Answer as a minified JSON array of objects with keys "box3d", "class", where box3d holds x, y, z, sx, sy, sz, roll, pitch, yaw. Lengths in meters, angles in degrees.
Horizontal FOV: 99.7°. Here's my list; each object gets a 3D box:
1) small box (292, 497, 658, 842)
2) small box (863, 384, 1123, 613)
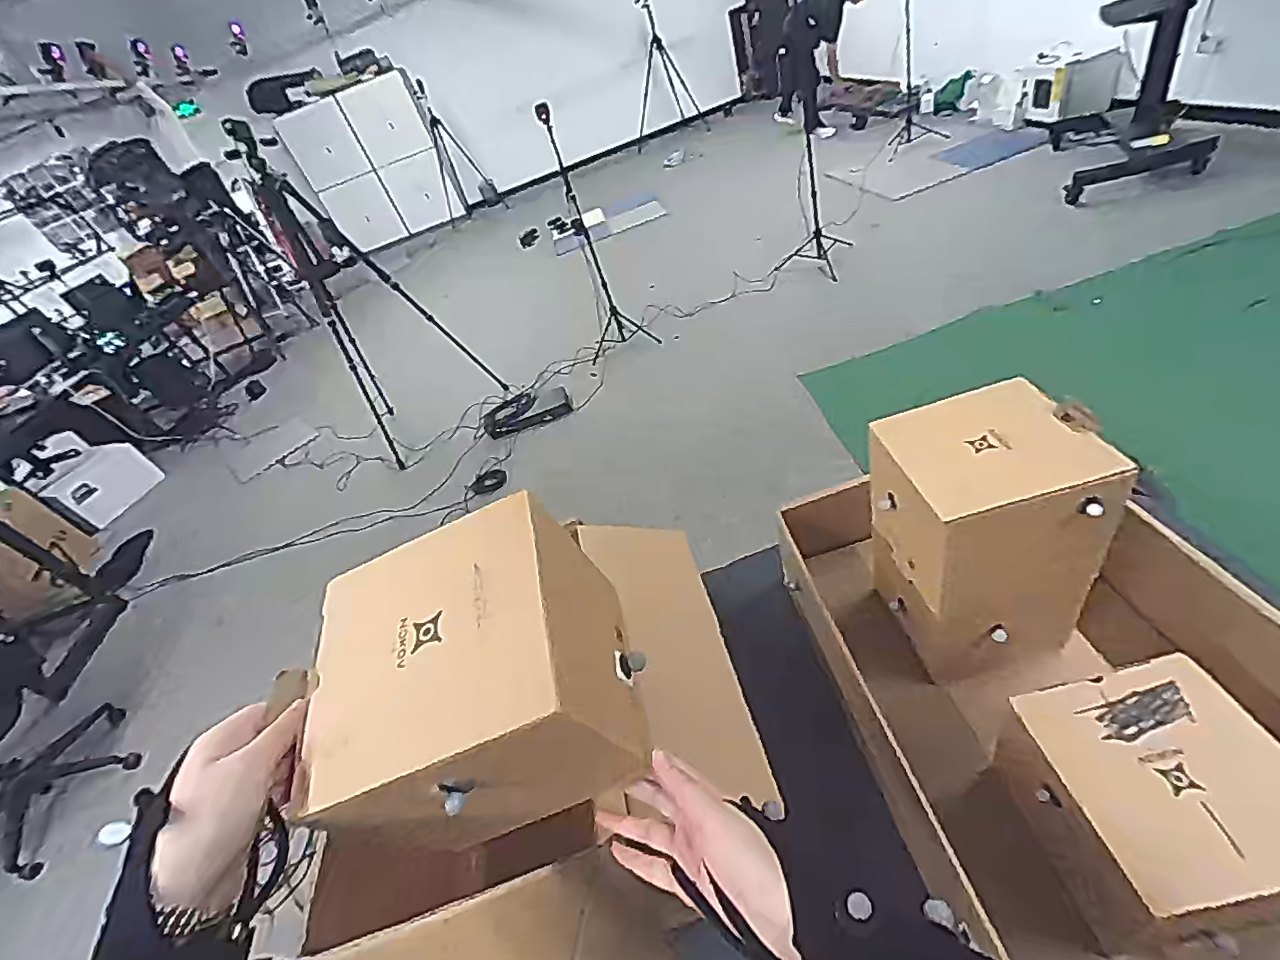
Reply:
[{"box3d":[-0.108,0.149,0.404,0.179,0.176,0.168,-24,49,6],"class":"small box"},{"box3d":[0.372,0.025,0.607,0.179,0.176,0.168,-17,41,6],"class":"small box"}]
